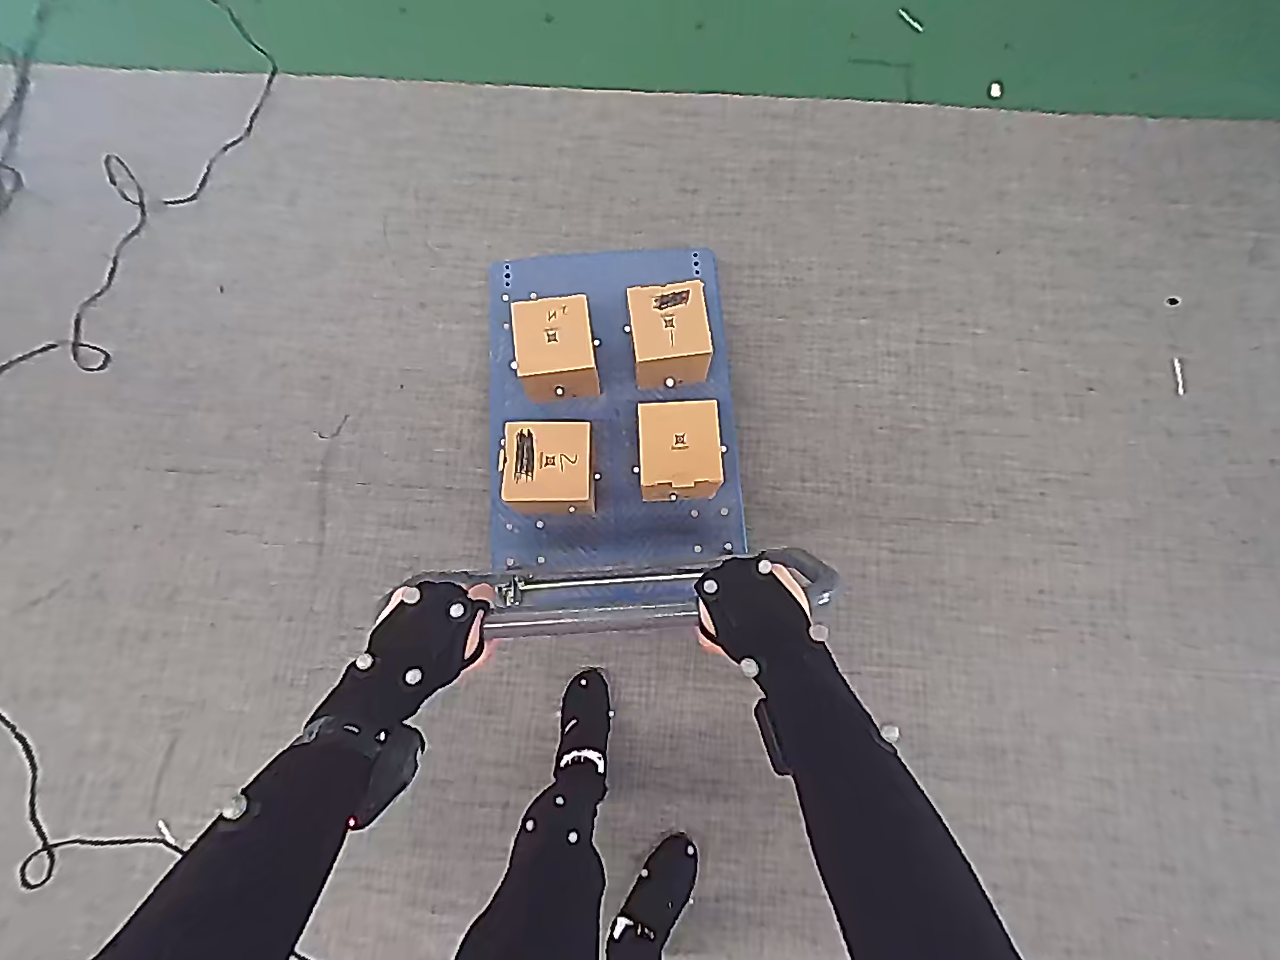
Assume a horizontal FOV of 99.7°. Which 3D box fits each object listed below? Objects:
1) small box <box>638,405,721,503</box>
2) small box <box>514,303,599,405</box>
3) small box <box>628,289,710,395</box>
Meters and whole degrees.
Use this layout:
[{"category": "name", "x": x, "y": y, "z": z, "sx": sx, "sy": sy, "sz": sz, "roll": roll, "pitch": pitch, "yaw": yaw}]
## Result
[{"category": "small box", "x": 0.081, "y": -0.052, "z": 1.196, "sx": 0.168, "sy": 0.176, "sz": 0.179, "roll": -3, "pitch": 77, "yaw": -1}, {"category": "small box", "x": -0.188, "y": -0.281, "z": 1.249, "sx": 0.168, "sy": 0.176, "sz": 0.179, "roll": -7, "pitch": 77, "yaw": -2}, {"category": "small box", "x": 0.062, "y": -0.315, "z": 1.256, "sx": 0.168, "sy": 0.176, "sz": 0.179, "roll": -7, "pitch": 78, "yaw": -1}]
